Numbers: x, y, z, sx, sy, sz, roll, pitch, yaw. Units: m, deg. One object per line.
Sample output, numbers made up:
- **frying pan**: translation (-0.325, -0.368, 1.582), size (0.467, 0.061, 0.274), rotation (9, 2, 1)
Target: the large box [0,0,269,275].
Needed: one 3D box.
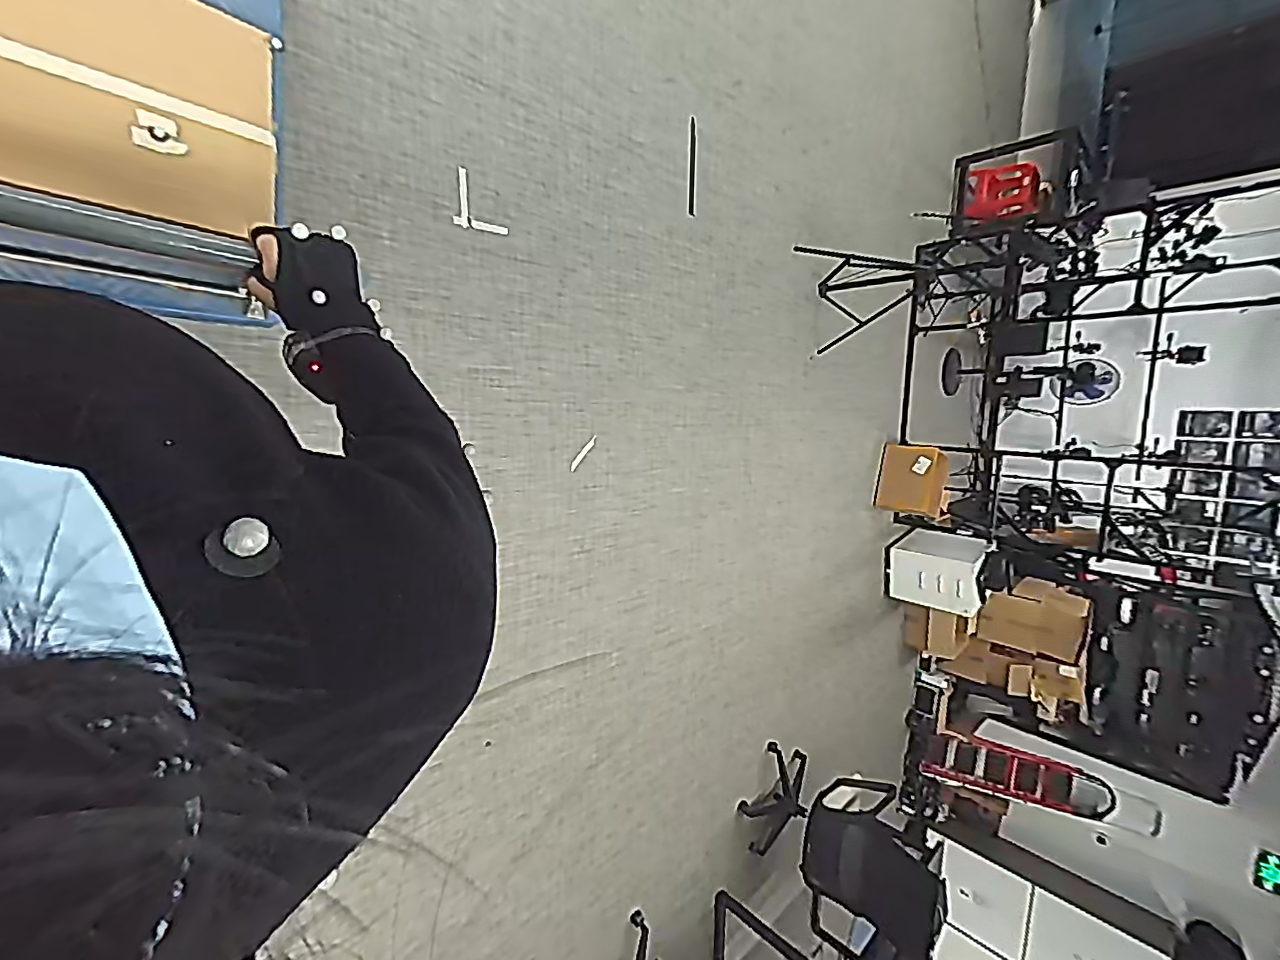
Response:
- **large box**: translation (-0.828, -0.527, 0.802), size (0.408, 0.320, 0.320), rotation (-2, 99, -46)
